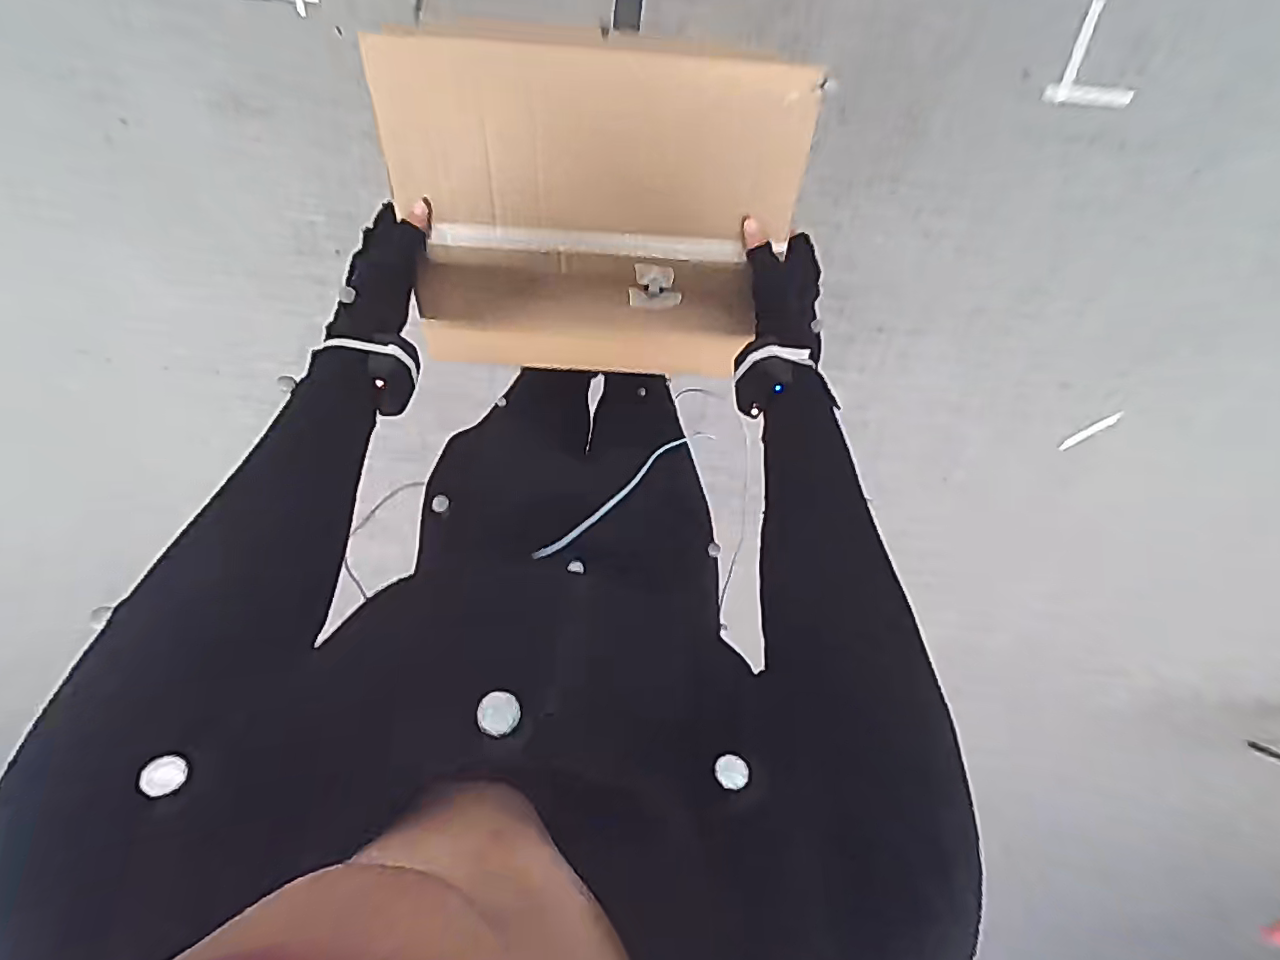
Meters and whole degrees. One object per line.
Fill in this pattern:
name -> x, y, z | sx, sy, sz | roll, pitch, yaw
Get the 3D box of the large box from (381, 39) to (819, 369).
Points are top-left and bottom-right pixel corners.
large box -> -0.043, -0.358, 0.694 | 0.408, 0.320, 0.320 | 2, 132, -2
